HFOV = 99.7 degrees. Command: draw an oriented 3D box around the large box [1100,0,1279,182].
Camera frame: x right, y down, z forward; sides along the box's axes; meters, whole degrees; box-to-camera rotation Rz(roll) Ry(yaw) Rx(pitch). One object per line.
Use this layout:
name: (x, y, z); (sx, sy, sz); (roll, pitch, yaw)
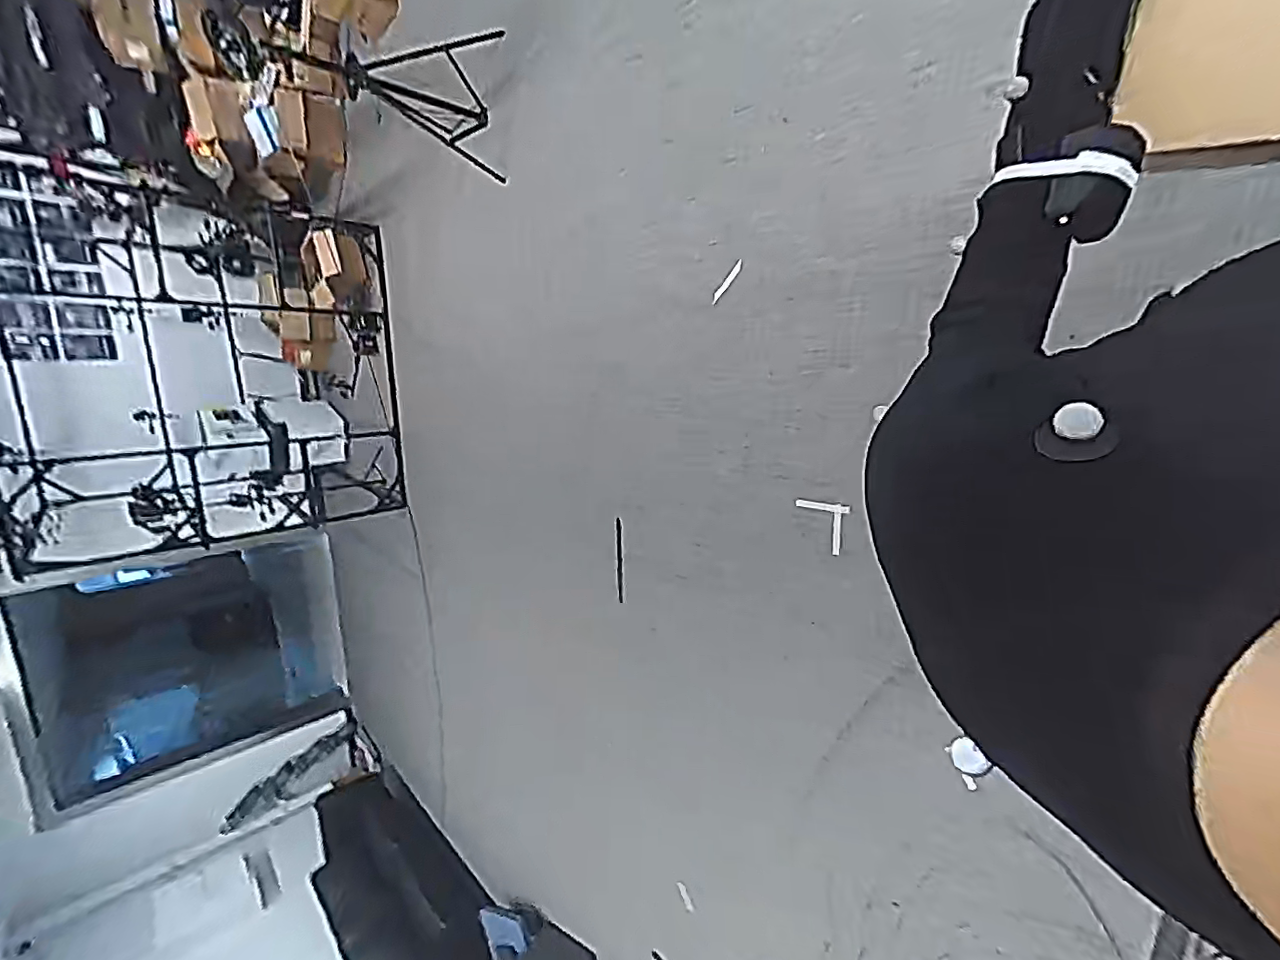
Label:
large box: (0.603, -0.394, 0.347); (0.408, 0.320, 0.320); (19, 122, 39)
